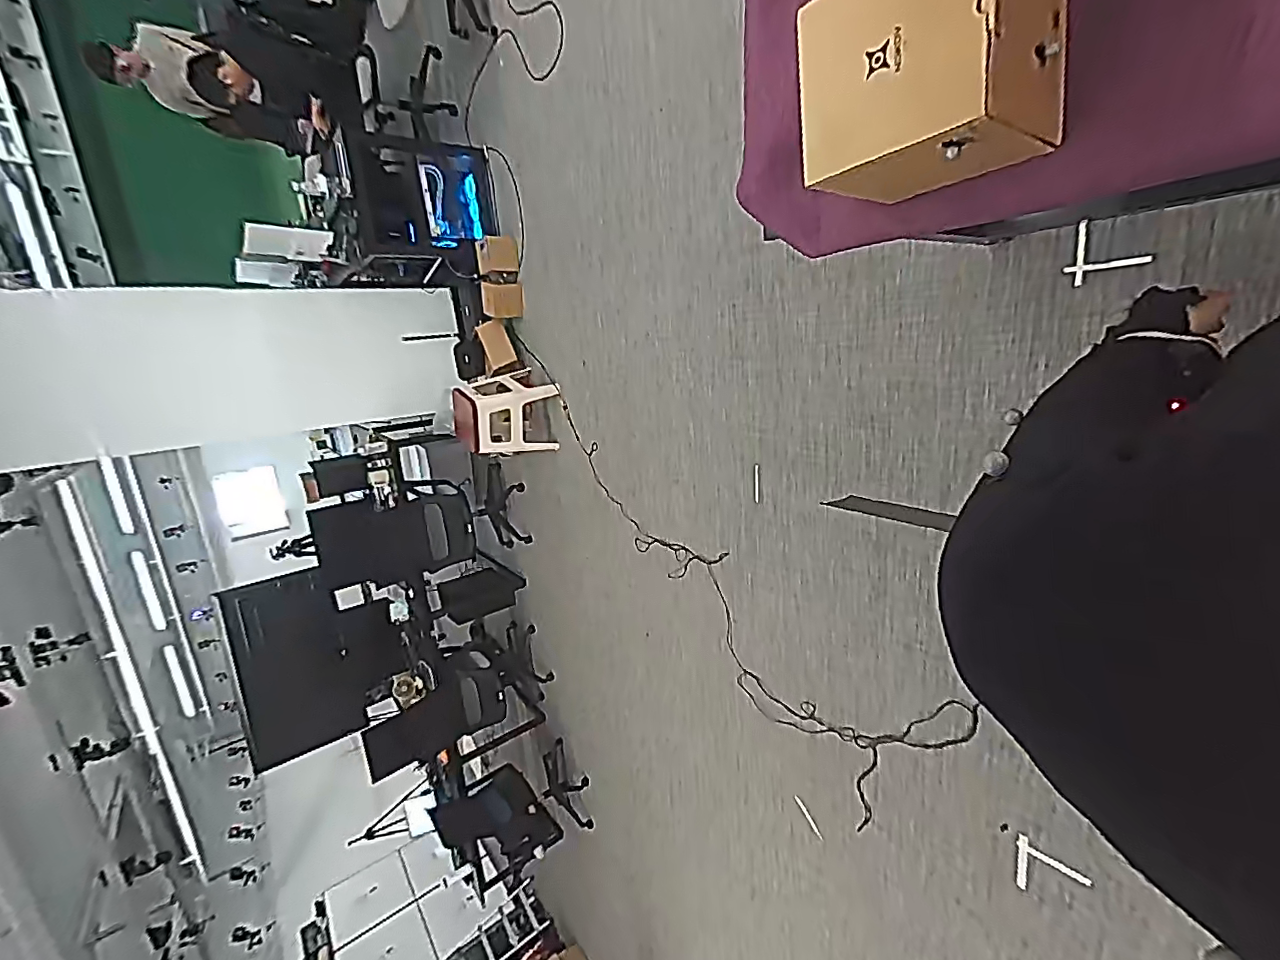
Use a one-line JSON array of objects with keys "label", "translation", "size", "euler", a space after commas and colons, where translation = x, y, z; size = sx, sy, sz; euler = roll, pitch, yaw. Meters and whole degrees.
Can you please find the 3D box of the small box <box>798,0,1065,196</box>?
[{"label": "small box", "translation": [0.280, -0.397, 0.530], "size": [0.179, 0.176, 0.168], "euler": [7, 107, 53]}]
